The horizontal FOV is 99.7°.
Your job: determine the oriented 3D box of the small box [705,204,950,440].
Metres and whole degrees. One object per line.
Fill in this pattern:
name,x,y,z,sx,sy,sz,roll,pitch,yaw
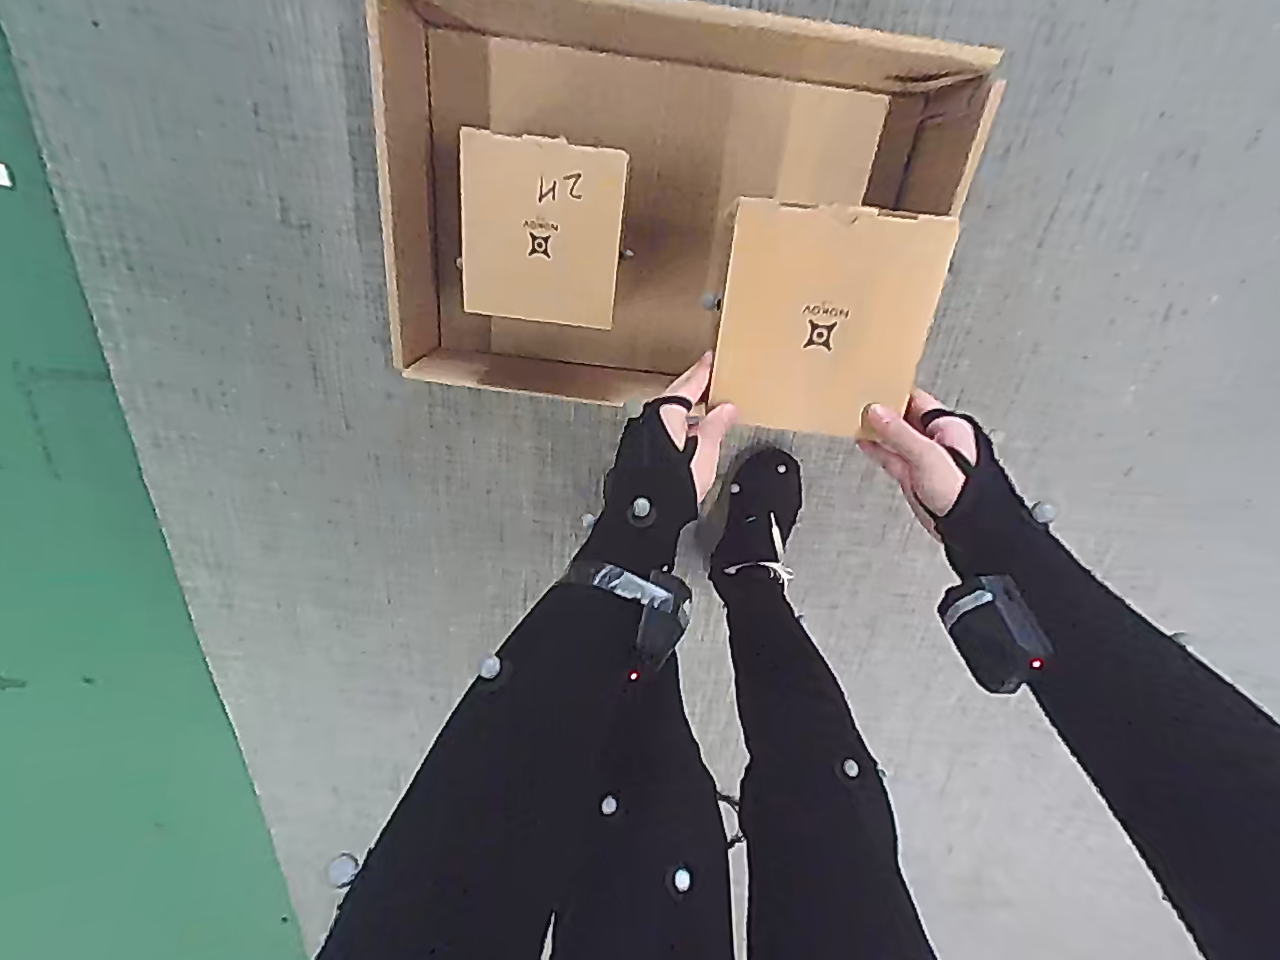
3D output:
small box,0.158,-0.156,0.523,0.168,0.176,0.179,8,113,3

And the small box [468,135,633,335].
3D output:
small box,-0.099,-0.286,0.642,0.168,0.176,0.179,6,116,-4
